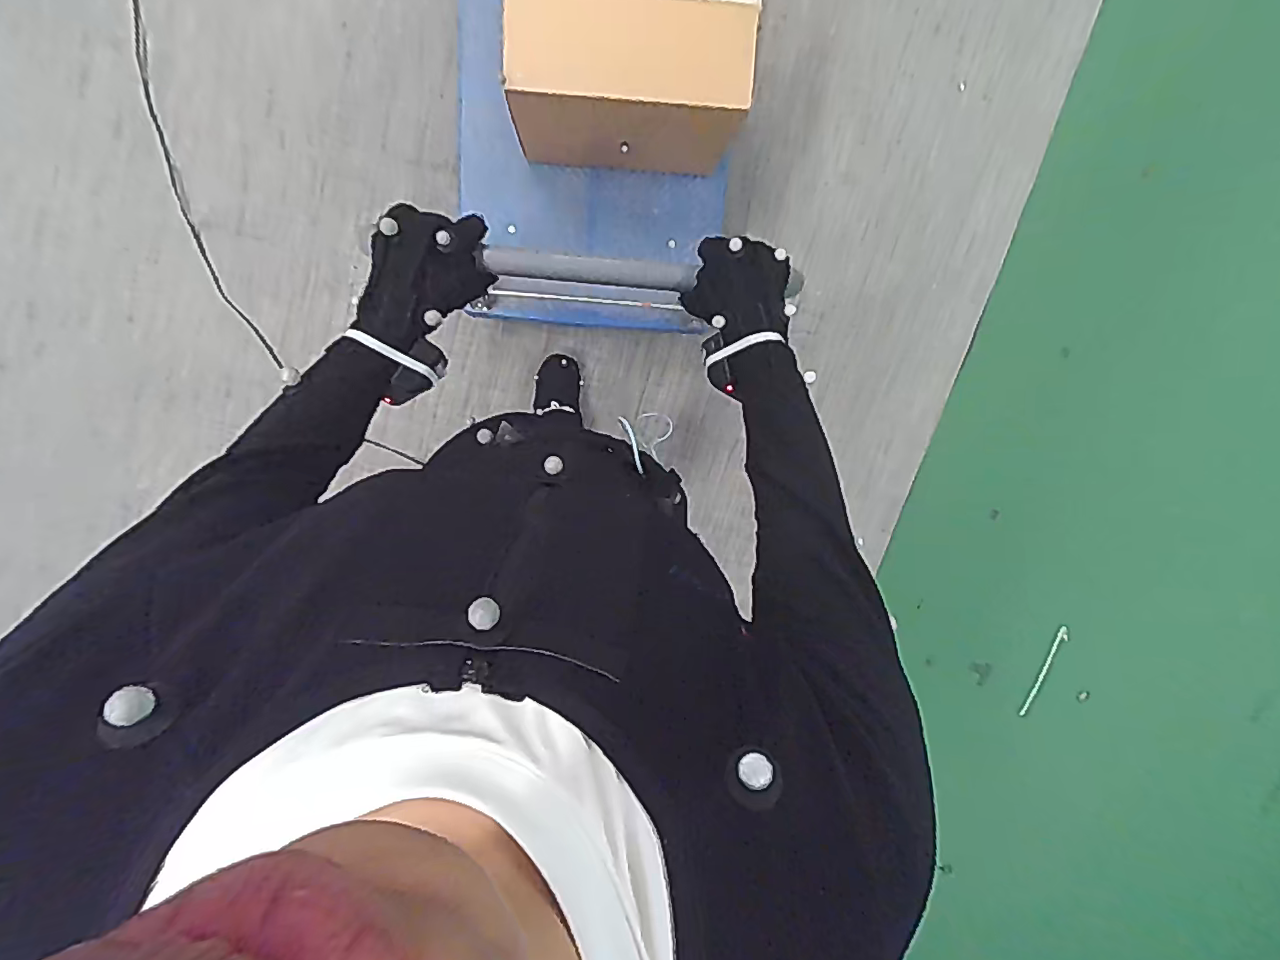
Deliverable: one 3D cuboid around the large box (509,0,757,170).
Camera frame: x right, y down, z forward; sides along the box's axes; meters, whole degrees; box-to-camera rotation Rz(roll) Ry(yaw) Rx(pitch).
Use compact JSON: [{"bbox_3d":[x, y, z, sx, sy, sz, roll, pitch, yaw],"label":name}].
[{"bbox_3d":[-0.015,-0.802,1.004,0.408,0.320,0.320,2,100,-4],"label":"large box"}]
